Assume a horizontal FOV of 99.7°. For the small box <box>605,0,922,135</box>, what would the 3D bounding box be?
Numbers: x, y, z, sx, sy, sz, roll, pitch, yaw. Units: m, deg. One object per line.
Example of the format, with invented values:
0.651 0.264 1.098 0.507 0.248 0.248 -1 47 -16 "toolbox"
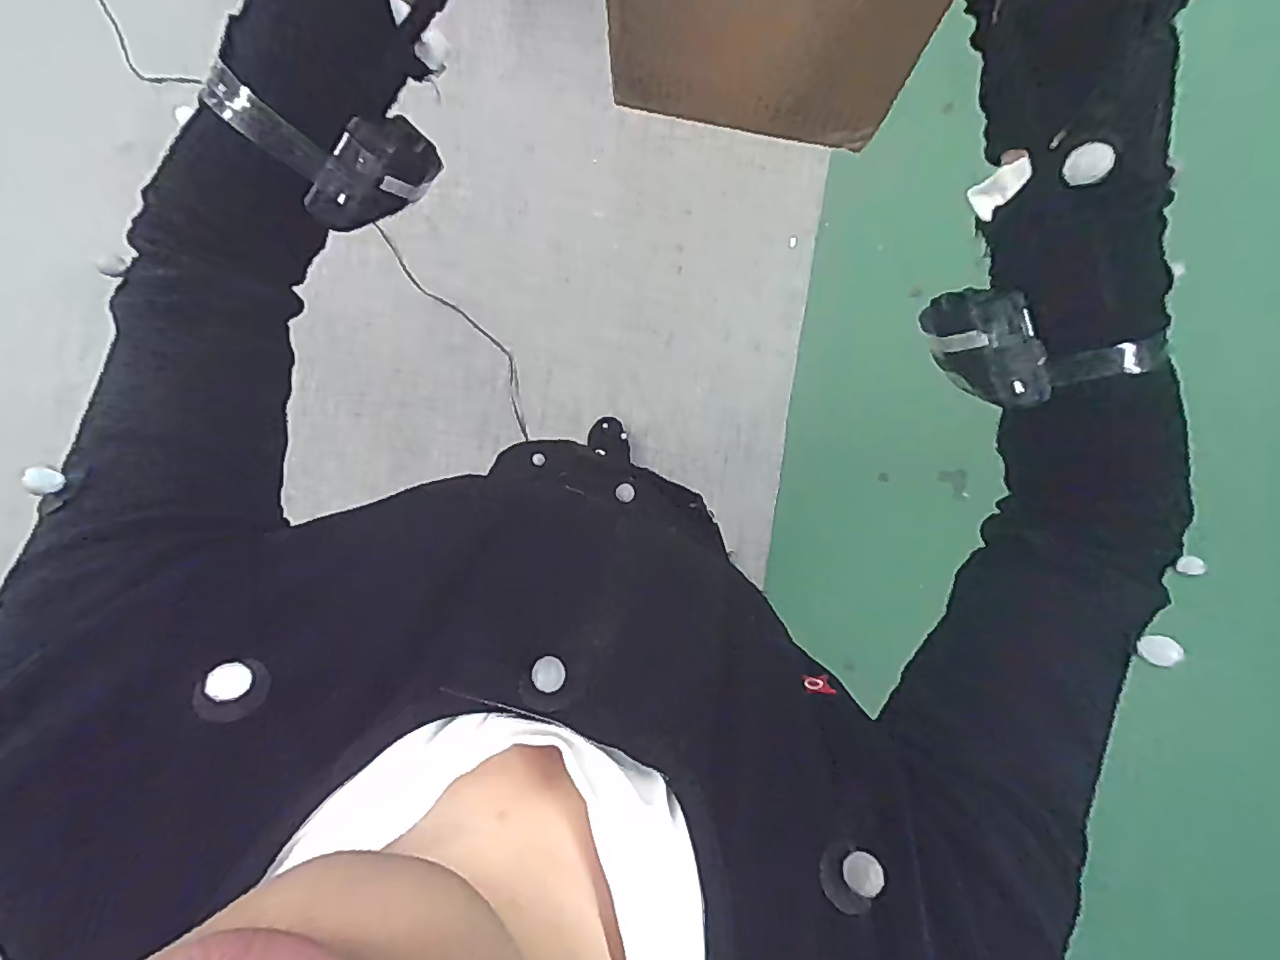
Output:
0.078 -0.329 0.296 0.179 0.176 0.168 12 87 1 "small box"
